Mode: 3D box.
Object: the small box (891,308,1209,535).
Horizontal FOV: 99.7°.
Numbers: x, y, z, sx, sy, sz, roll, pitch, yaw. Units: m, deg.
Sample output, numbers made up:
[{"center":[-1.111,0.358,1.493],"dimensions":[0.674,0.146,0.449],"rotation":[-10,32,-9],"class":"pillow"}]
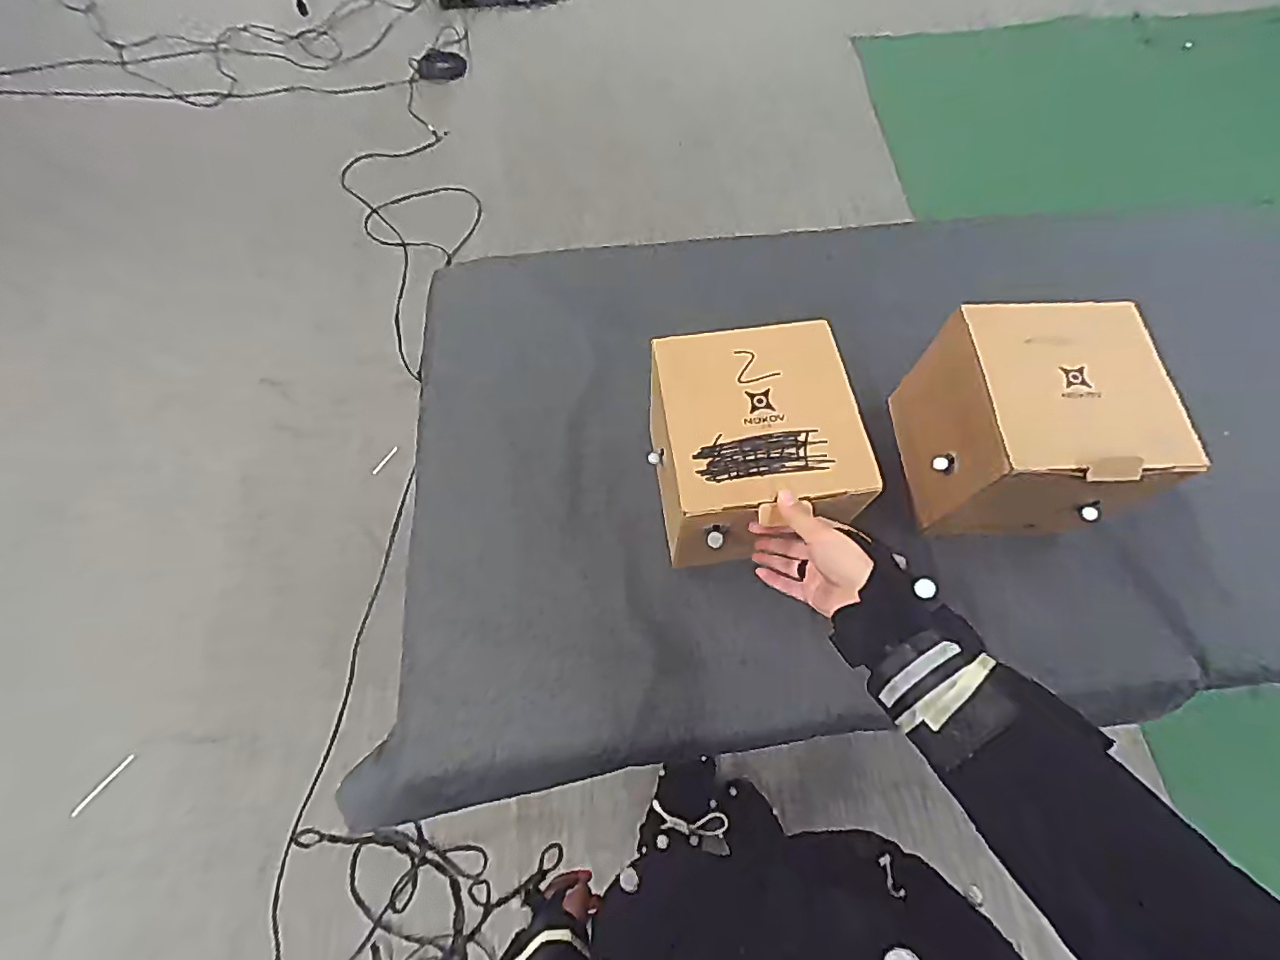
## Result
[{"center":[0.382,-0.048,0.546],"dimensions":[0.168,0.176,0.179],"rotation":[-1,65,-1],"class":"small box"}]
